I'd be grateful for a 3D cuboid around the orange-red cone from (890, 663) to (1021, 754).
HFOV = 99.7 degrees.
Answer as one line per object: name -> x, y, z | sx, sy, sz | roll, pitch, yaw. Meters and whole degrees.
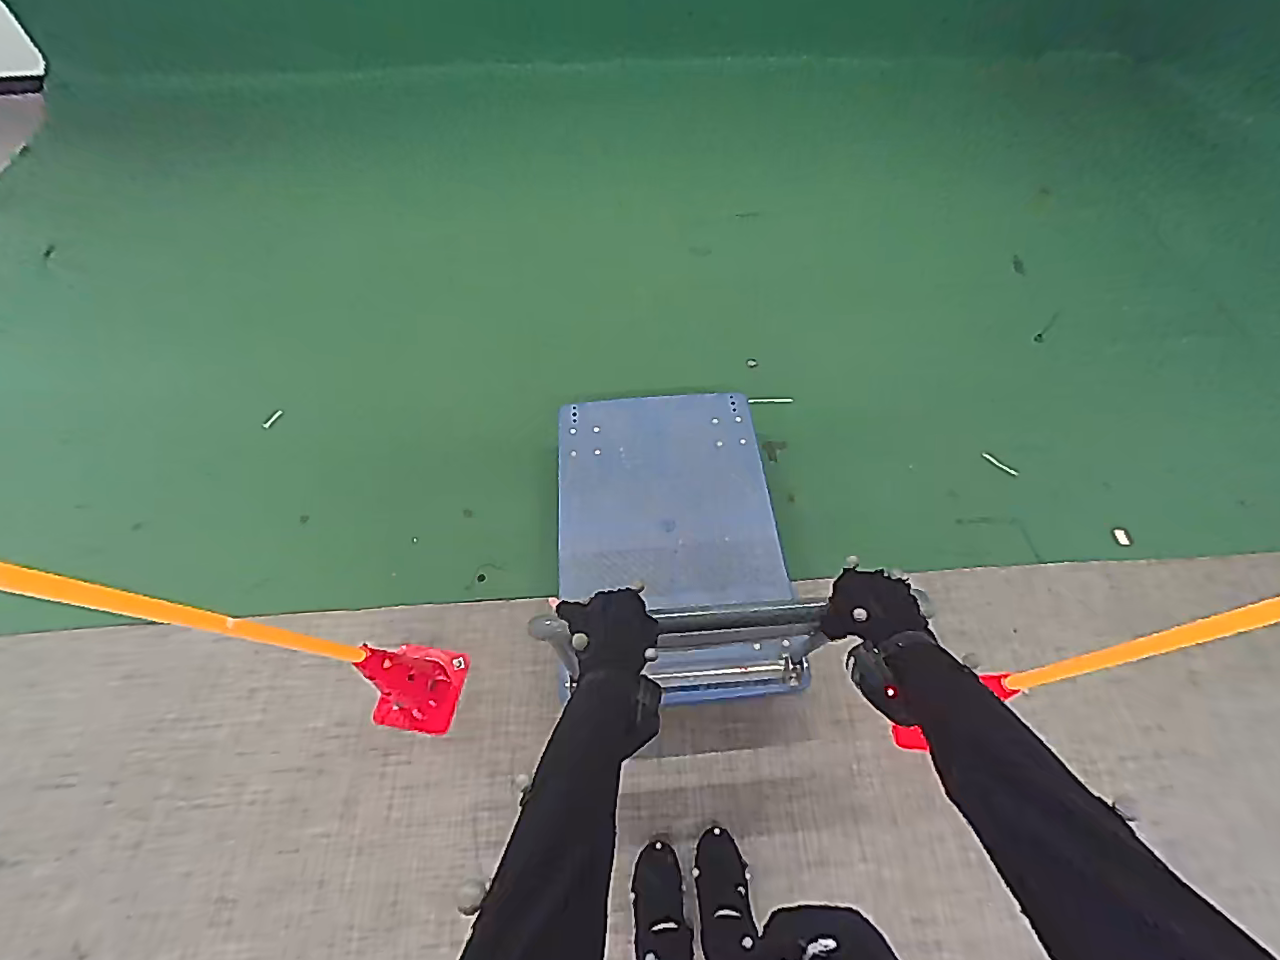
orange-red cone -> 0.731, 0.483, 1.208 | 0.198, 0.360, 0.199 | 6, 60, 5
